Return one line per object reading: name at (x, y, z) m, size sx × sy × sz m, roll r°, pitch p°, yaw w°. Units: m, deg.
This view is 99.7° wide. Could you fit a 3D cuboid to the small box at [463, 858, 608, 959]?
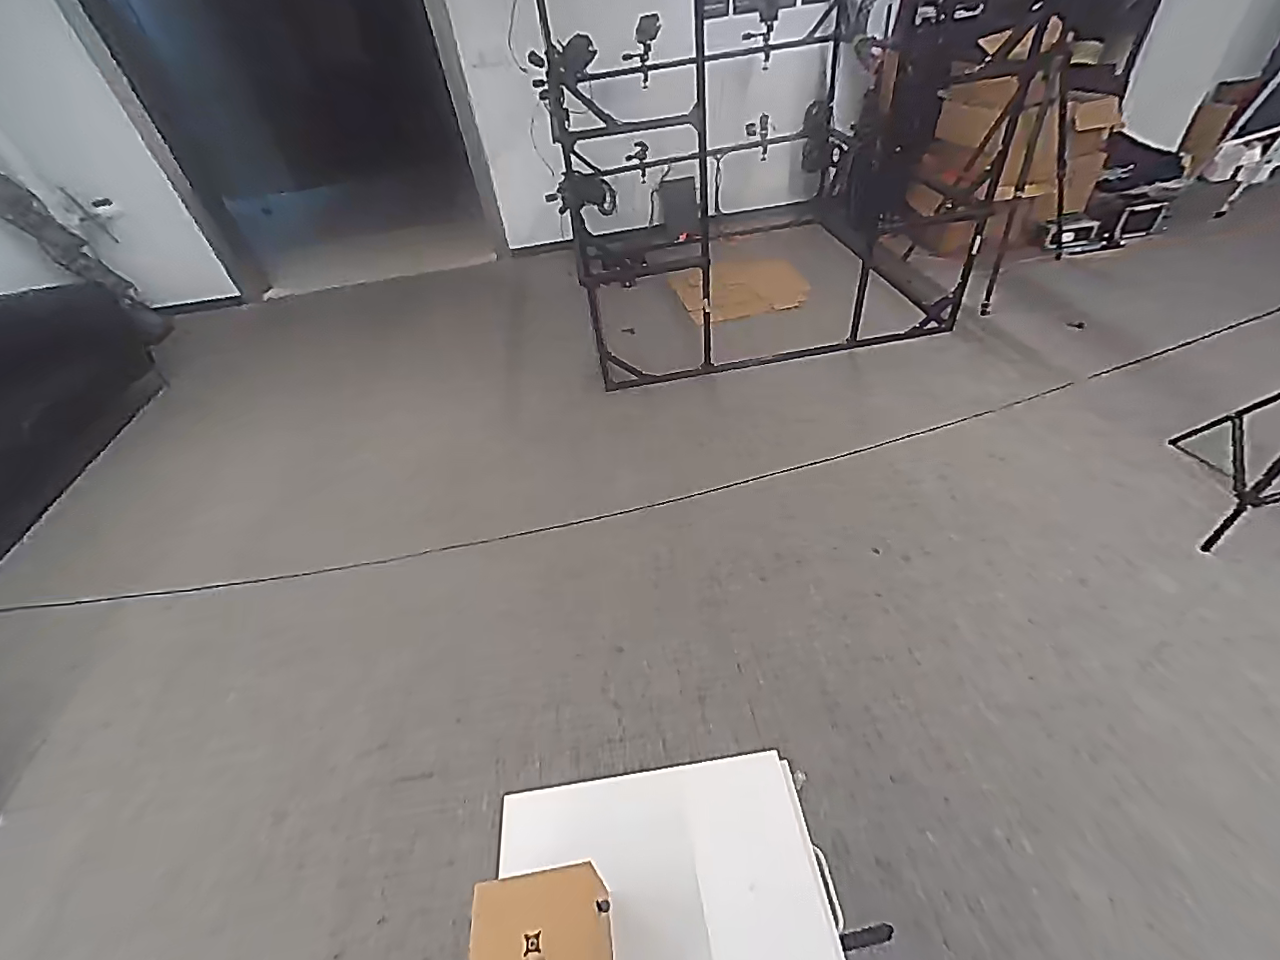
small box at (-0.137, 0.656, 0.743) m, size 0.168 × 0.176 × 0.179 m, roll -10°, pitch 42°, yaw -1°
